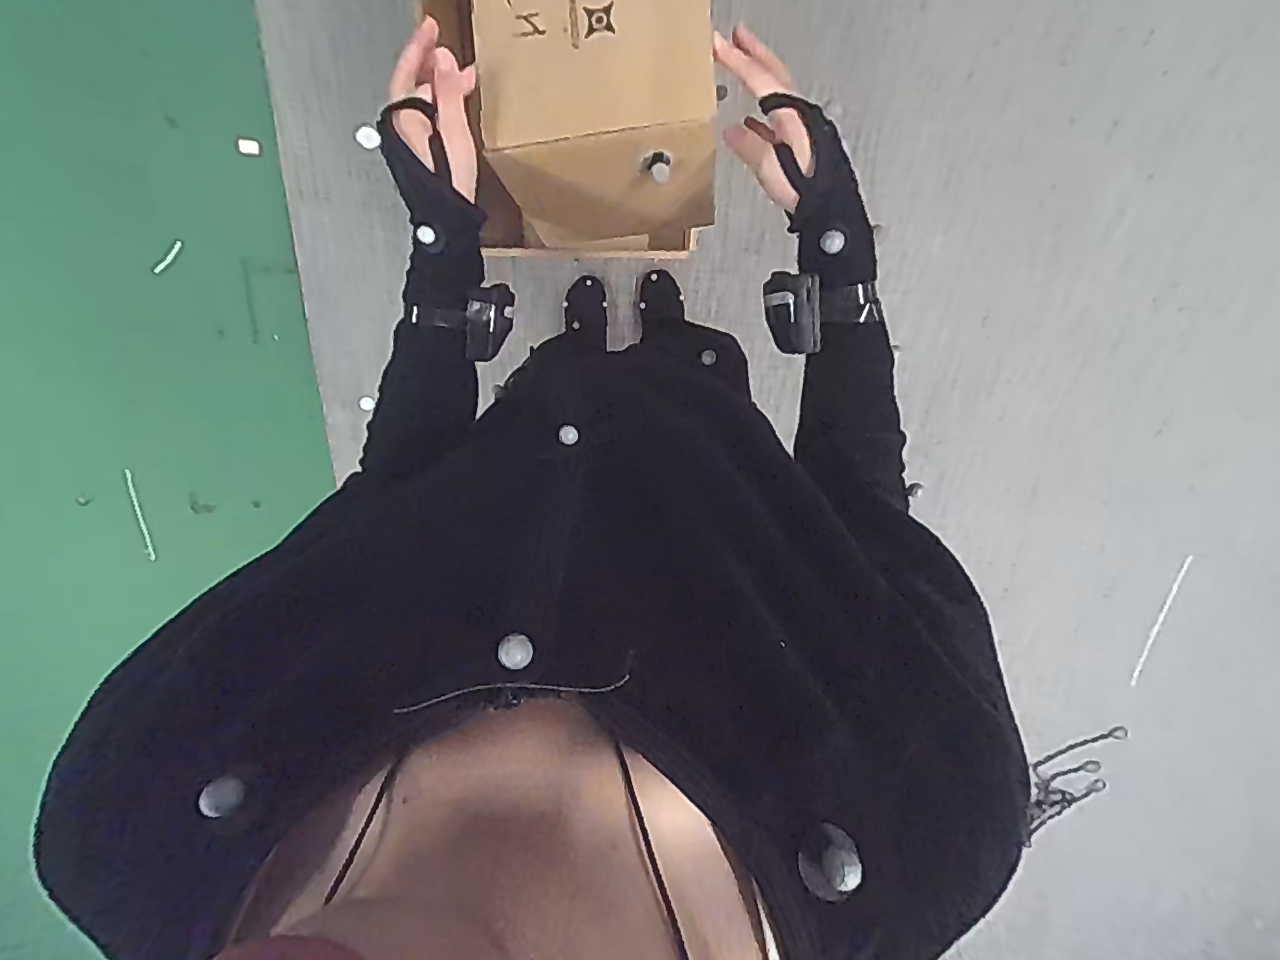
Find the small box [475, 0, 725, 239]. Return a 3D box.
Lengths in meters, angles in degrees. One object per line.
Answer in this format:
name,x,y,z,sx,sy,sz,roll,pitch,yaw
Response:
small box,-0.023,-0.327,0.461,0.179,0.176,0.168,-4,90,7
